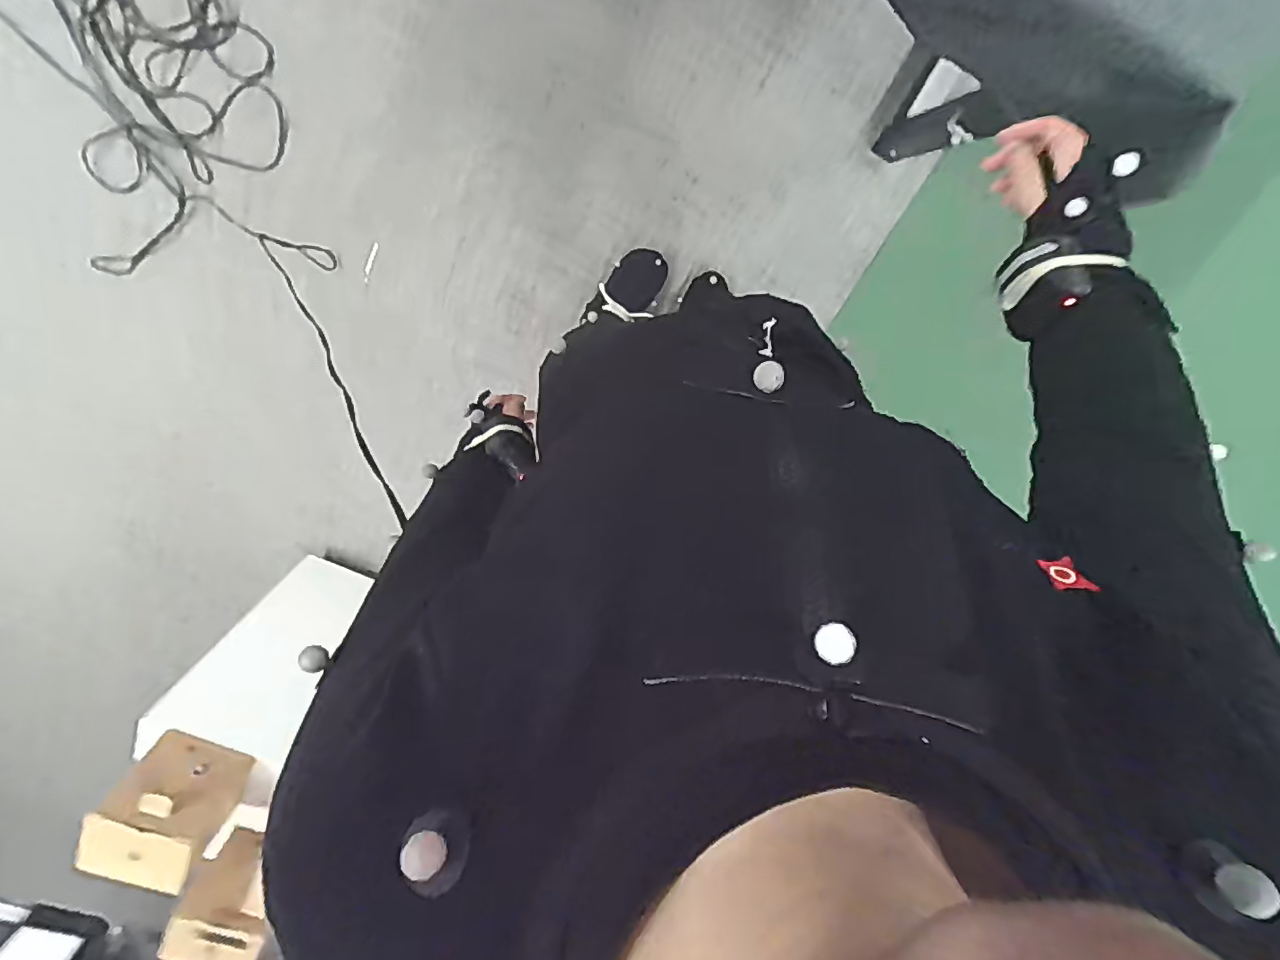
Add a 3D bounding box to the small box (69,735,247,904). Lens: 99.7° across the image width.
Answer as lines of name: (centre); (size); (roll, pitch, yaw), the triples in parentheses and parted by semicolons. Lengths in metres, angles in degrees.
small box: (-0.850, 0.602, 0.967); (0.168, 0.176, 0.179); (27, 112, -11)
